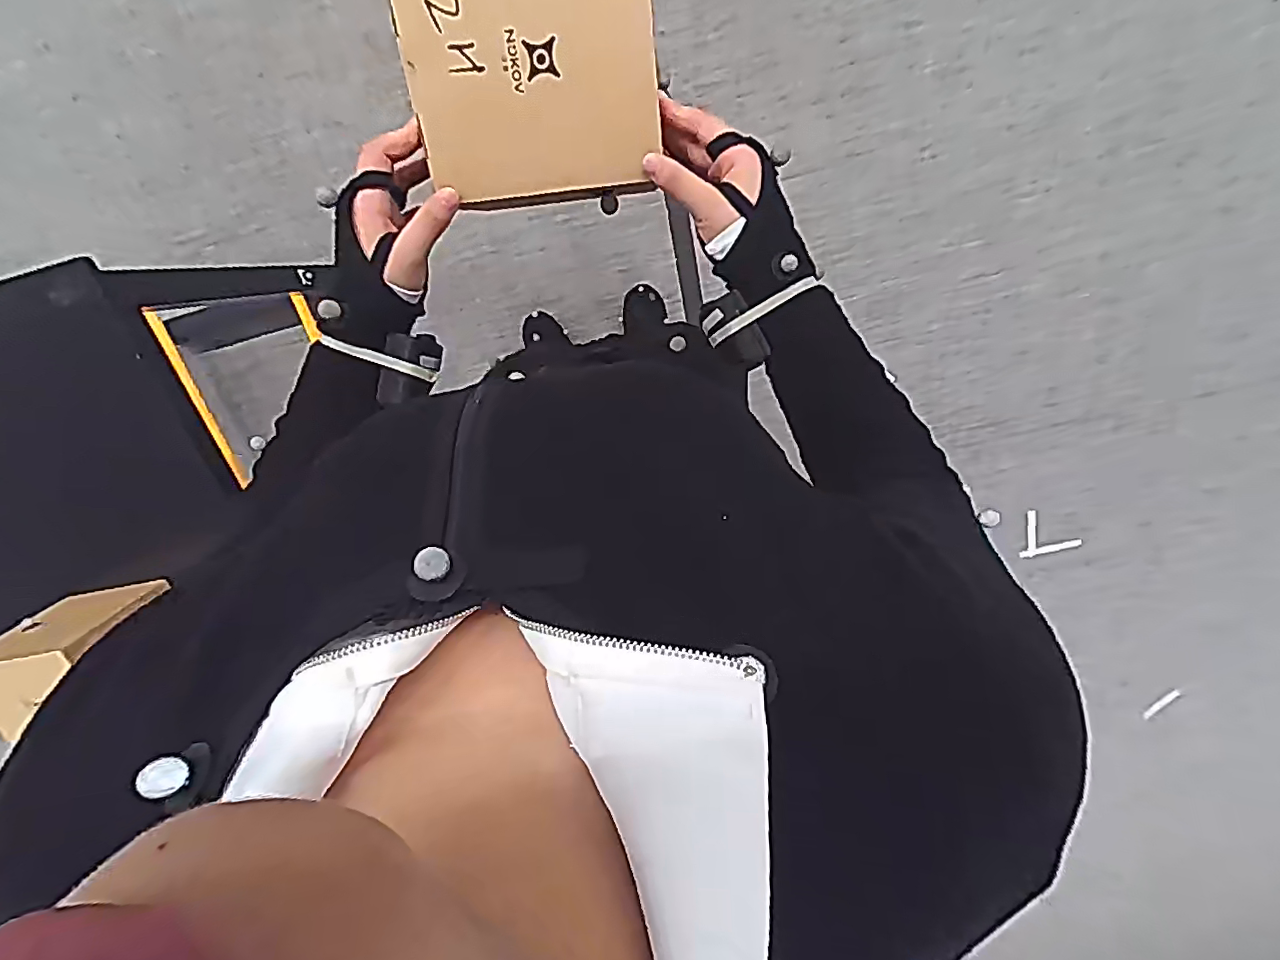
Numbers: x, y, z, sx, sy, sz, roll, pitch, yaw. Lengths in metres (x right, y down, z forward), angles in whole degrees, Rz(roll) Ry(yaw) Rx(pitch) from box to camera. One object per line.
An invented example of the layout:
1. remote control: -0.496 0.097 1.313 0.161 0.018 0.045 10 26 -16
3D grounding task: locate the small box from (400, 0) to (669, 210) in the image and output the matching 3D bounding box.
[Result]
1. small box: -0.073 -0.326 0.452 0.179 0.176 0.168 -5 115 2

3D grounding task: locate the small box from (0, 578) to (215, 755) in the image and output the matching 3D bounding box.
1. small box: -0.797 0.267 0.798 0.179 0.176 0.168 -11 112 5
